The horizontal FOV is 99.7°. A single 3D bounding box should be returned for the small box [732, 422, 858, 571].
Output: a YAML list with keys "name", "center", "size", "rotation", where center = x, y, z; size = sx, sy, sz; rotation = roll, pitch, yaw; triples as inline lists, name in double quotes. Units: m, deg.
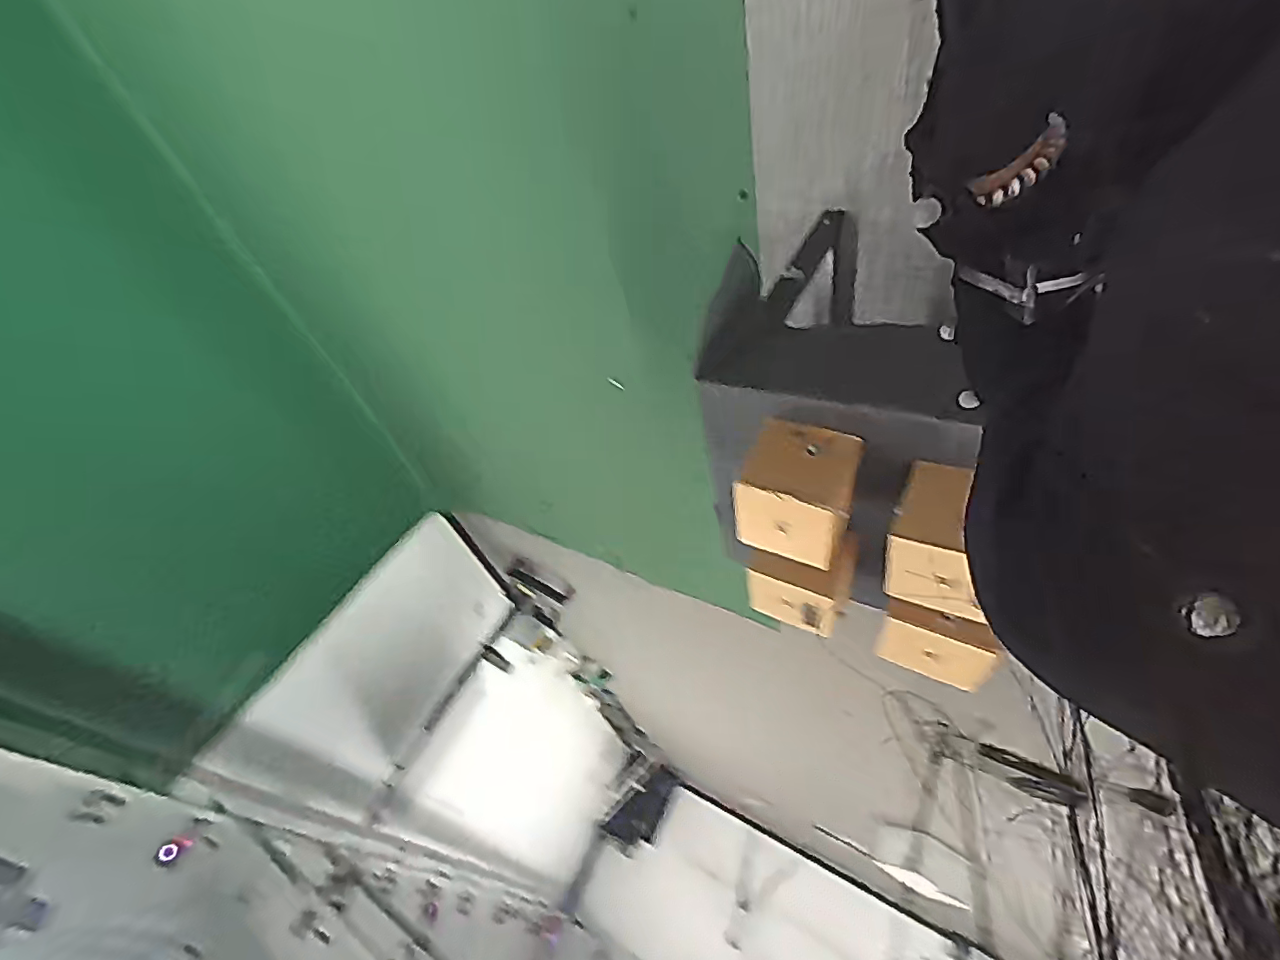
- name: "small box"
  center: [0.276, 0.026, 0.959]
  size: [0.168, 0.176, 0.179]
  rotation: [16, 144, 26]

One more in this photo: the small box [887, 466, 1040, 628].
- name: "small box"
  center: [0.501, 0.097, 0.846]
  size: [0.179, 0.176, 0.168]
  rotation: [13, 143, 32]
